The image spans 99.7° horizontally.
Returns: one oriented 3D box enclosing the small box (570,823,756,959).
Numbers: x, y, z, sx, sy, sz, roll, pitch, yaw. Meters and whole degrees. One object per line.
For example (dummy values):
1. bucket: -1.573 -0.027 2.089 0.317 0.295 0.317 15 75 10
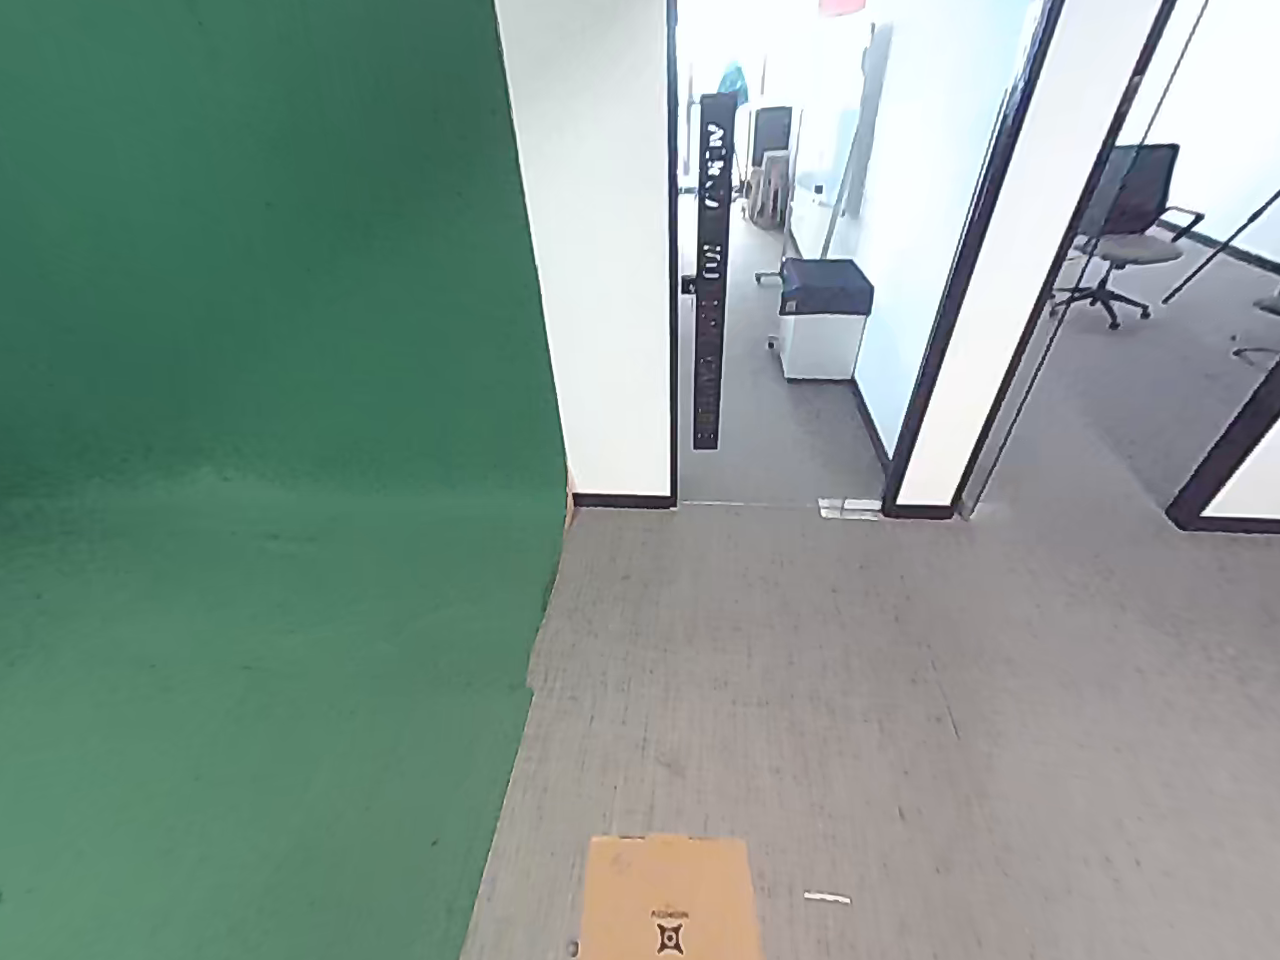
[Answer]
1. small box: 0.021 0.477 0.530 0.168 0.176 0.179 0 25 2
